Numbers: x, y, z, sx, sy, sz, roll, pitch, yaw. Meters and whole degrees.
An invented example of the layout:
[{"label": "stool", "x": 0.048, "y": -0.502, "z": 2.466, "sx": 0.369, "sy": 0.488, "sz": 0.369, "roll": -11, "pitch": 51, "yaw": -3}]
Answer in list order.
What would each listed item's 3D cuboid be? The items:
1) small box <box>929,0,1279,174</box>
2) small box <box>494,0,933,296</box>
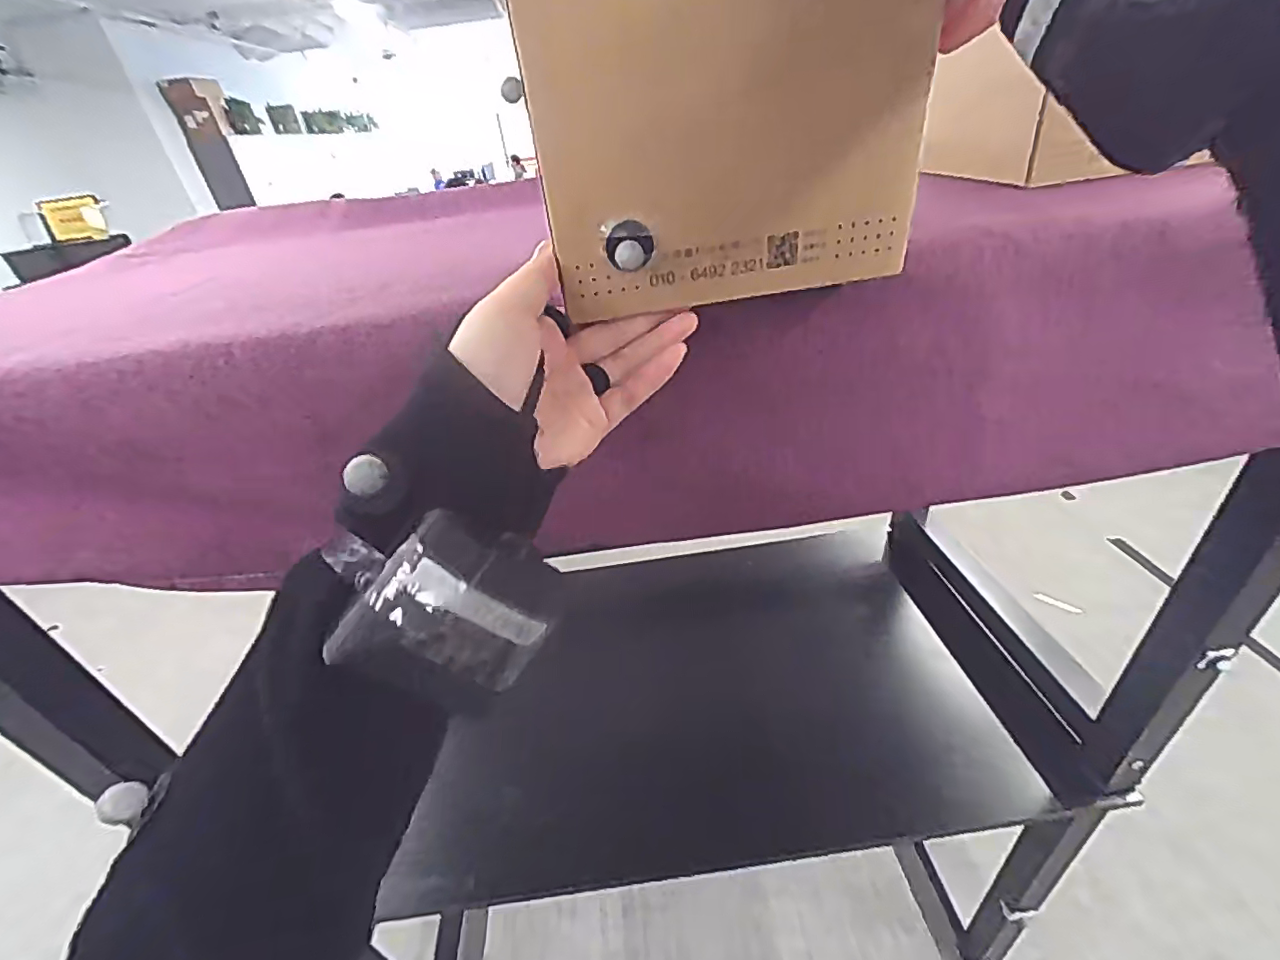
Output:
[{"label": "small box", "x": 0.344, "y": -0.336, "z": 0.405, "sx": 0.168, "sy": 0.176, "sz": 0.179, "roll": -7, "pitch": 33, "yaw": 3}, {"label": "small box", "x": 0.024, "y": -0.199, "z": 0.267, "sx": 0.168, "sy": 0.176, "sz": 0.179, "roll": -10, "pitch": 36, "yaw": -3}]
